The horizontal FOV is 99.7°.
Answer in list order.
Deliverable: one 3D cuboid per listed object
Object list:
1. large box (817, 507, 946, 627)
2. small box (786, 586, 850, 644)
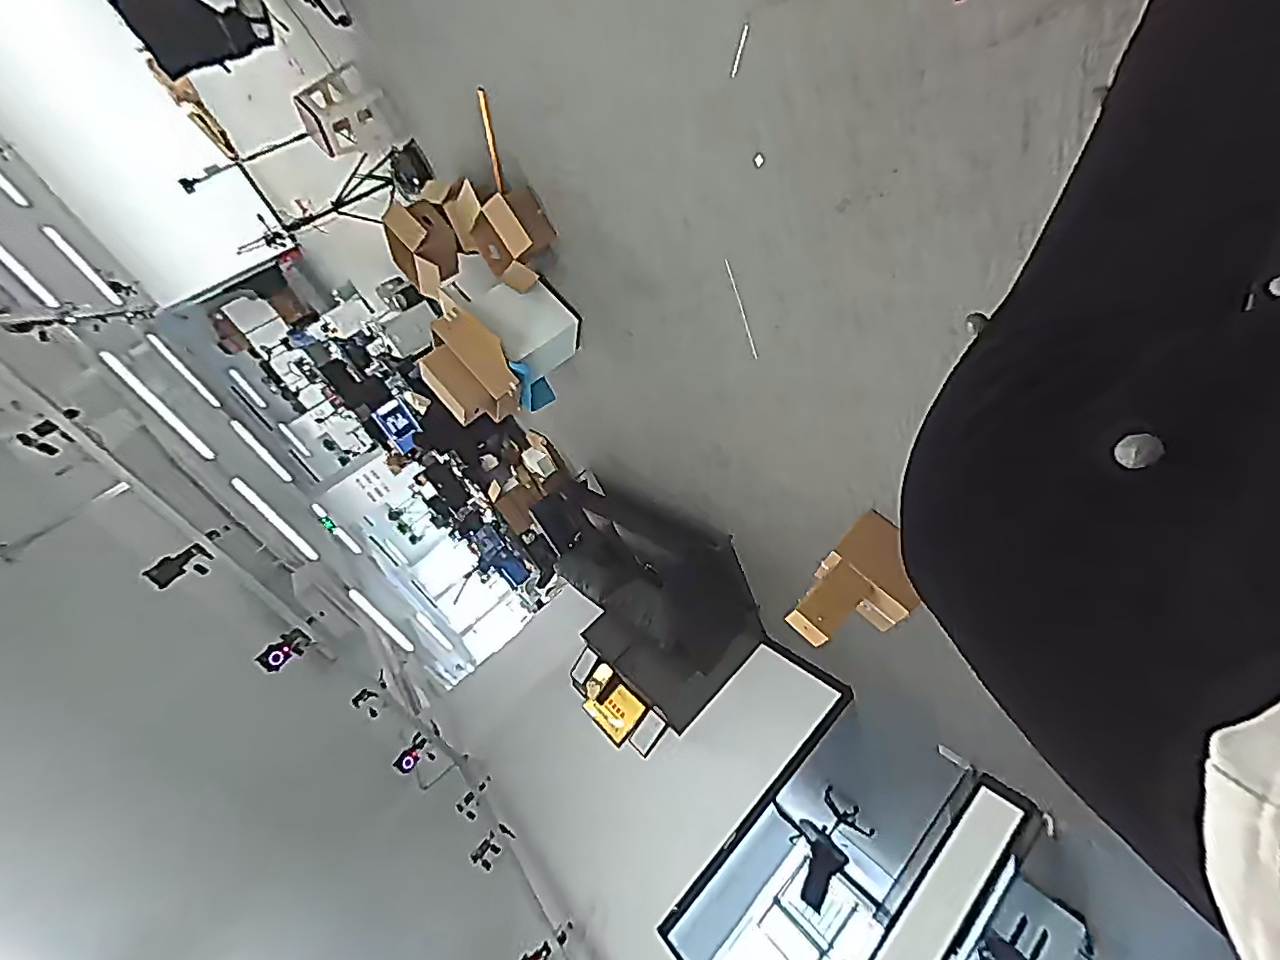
[{"bbox_3d":[1.117,0.405,2.535,0.408,0.320,0.320,40,159,21],"label":"large box"},{"bbox_3d":[0.778,0.584,2.366,0.179,0.176,0.168,41,157,17],"label":"small box"}]
